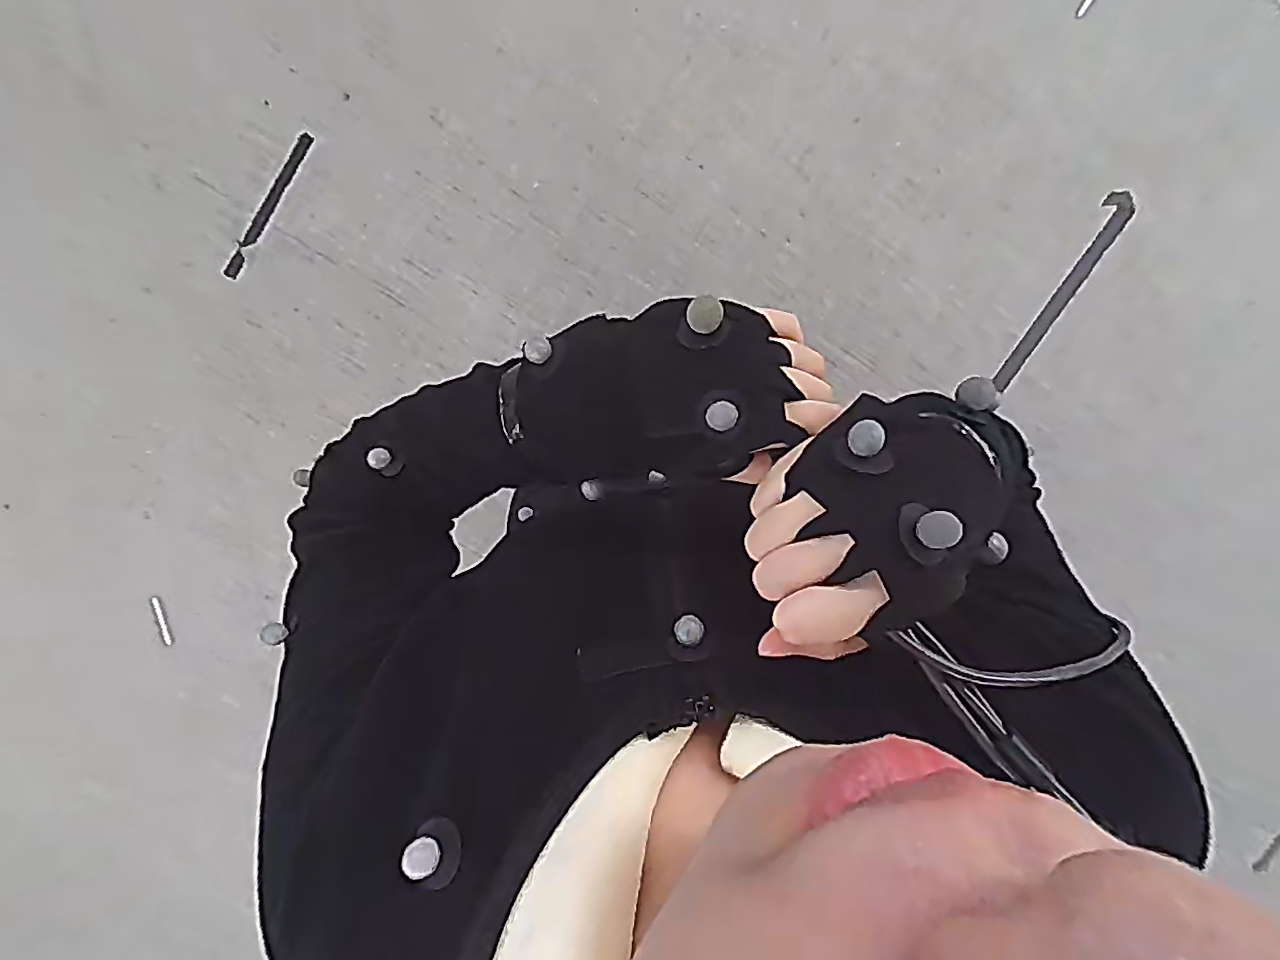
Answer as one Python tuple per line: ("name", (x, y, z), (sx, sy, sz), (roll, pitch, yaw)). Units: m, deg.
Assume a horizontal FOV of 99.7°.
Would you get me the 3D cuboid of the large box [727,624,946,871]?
("large box", (0.442, 0.619, 1.303), (0.320, 0.320, 0.408), (16, 99, -6))
